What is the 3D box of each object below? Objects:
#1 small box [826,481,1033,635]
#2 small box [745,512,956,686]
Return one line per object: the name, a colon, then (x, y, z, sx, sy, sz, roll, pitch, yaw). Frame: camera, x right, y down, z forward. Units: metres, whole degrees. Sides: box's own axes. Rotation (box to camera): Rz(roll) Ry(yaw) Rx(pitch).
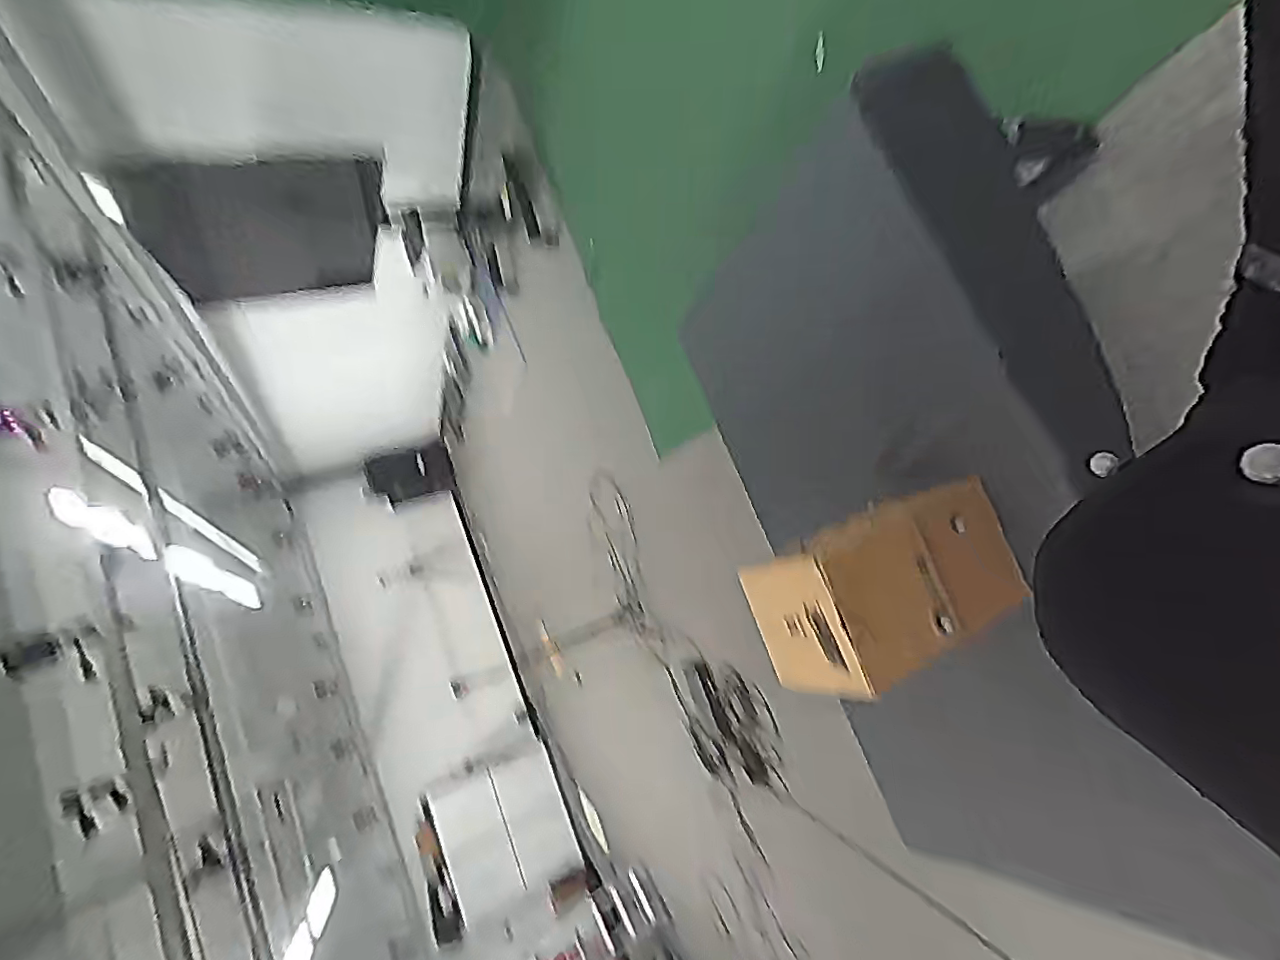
small box: (0.417, 0.112, 0.789, 0.179, 0.176, 0.168, 68, 155, 7)
small box: (0.278, 0.156, 0.715, 0.168, 0.176, 0.179, 68, 154, 11)
